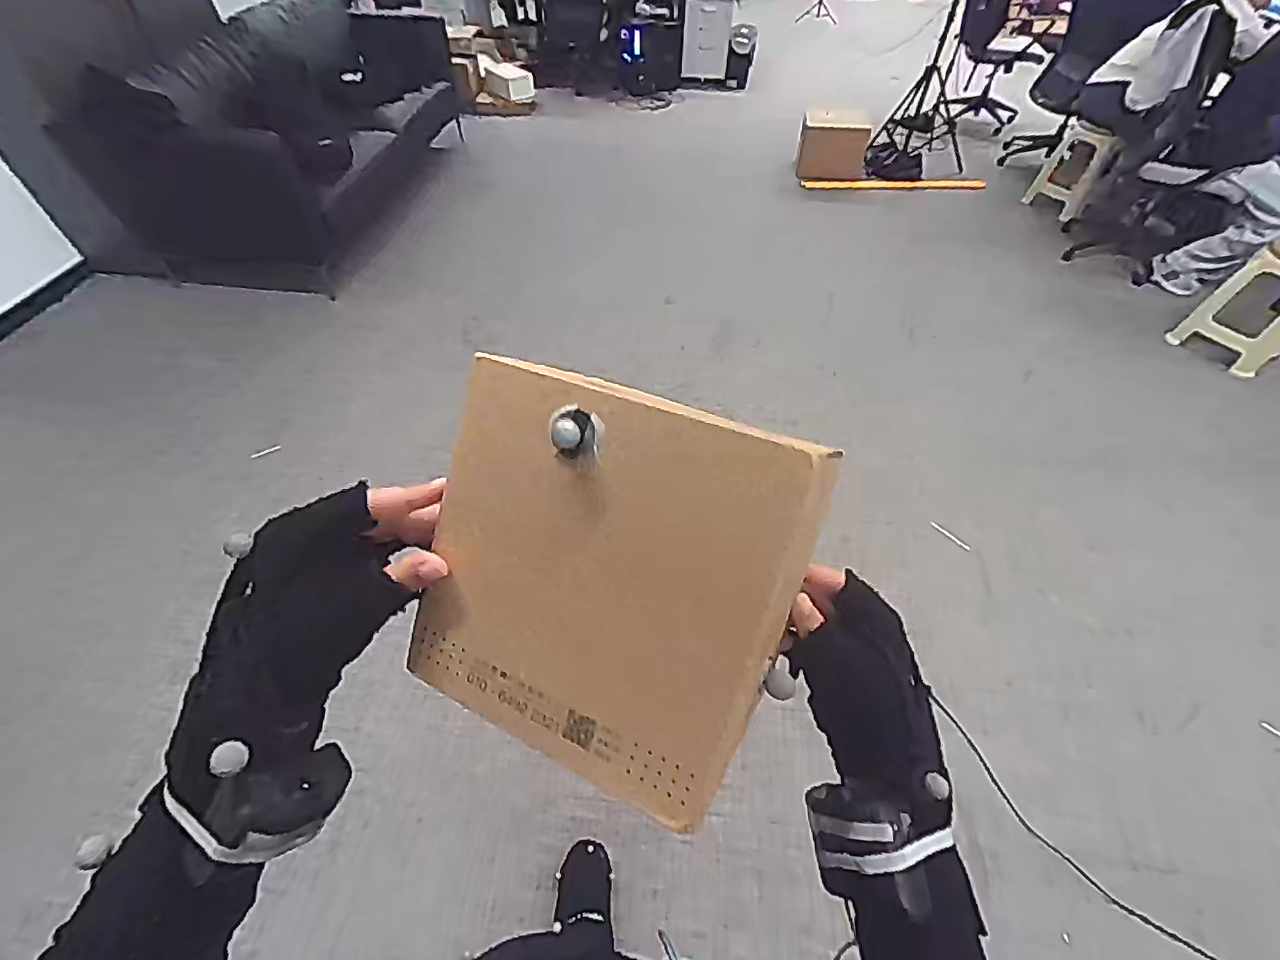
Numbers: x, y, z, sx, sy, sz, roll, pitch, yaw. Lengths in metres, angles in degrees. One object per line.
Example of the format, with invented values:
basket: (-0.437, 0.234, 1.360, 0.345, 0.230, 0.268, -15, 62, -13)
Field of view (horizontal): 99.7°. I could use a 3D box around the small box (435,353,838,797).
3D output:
small box: (0.007, 0.039, 0.327, 0.168, 0.176, 0.179, 18, 8, 23)
